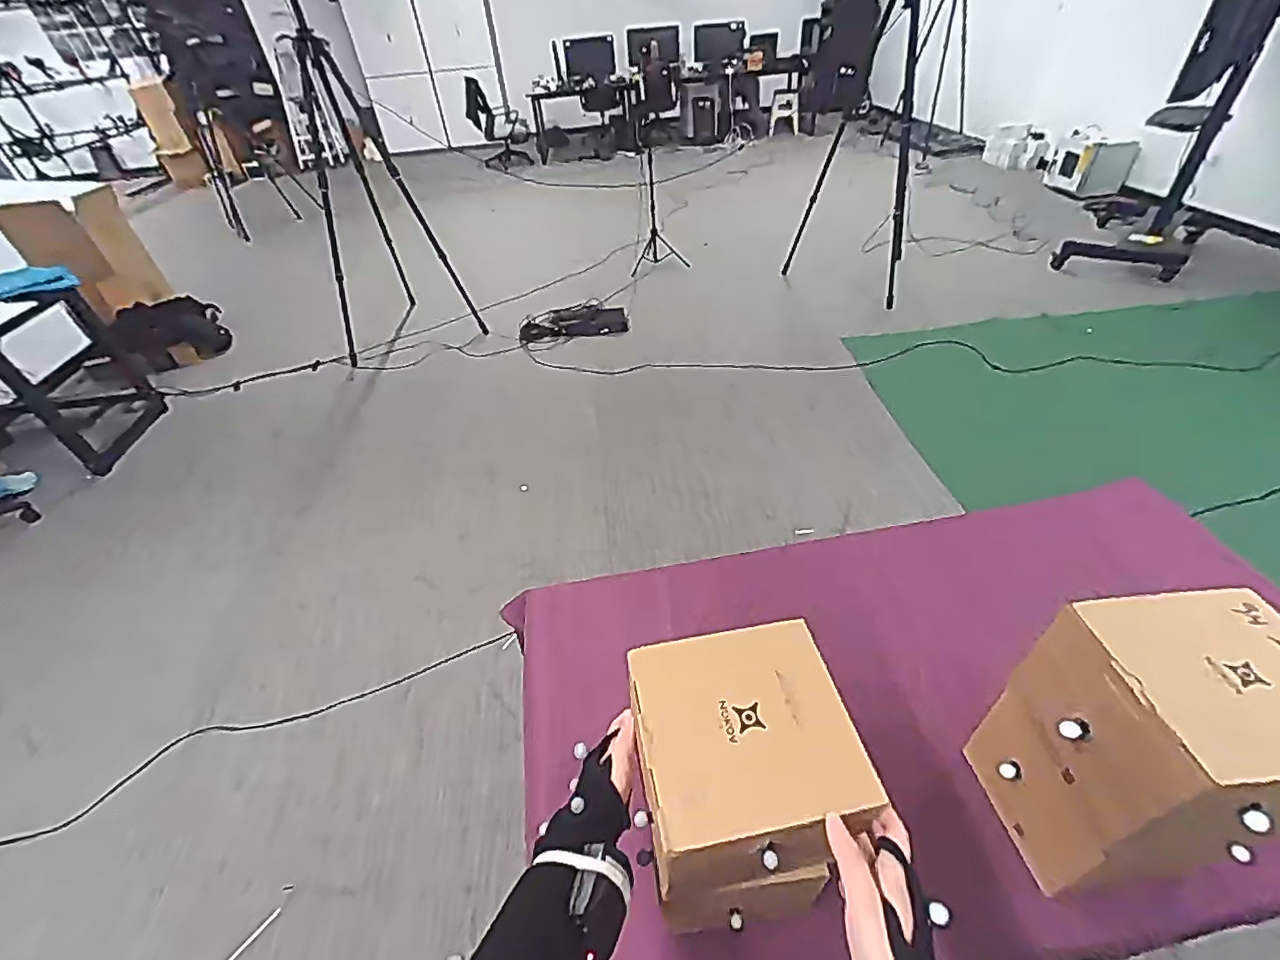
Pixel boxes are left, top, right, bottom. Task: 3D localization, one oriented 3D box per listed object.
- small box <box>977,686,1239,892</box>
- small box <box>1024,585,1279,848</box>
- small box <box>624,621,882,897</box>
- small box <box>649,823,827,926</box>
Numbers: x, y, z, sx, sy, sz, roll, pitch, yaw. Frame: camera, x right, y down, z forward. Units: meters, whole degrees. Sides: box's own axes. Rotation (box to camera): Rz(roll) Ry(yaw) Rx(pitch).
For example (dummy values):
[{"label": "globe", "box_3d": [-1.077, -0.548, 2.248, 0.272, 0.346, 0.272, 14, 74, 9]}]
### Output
[{"label": "small box", "box_3d": [0.520, 0.340, 0.614, 0.179, 0.176, 0.168, -8, 42, -3]}, {"label": "small box", "box_3d": [0.500, 0.221, 0.502, 0.179, 0.176, 0.168, -5, 42, 1]}, {"label": "small box", "box_3d": [0.088, 0.260, 0.505, 0.179, 0.176, 0.168, -9, 44, -6]}, {"label": "small box", "box_3d": [0.095, 0.382, 0.617, 0.168, 0.176, 0.179, -7, 42, -2]}]
